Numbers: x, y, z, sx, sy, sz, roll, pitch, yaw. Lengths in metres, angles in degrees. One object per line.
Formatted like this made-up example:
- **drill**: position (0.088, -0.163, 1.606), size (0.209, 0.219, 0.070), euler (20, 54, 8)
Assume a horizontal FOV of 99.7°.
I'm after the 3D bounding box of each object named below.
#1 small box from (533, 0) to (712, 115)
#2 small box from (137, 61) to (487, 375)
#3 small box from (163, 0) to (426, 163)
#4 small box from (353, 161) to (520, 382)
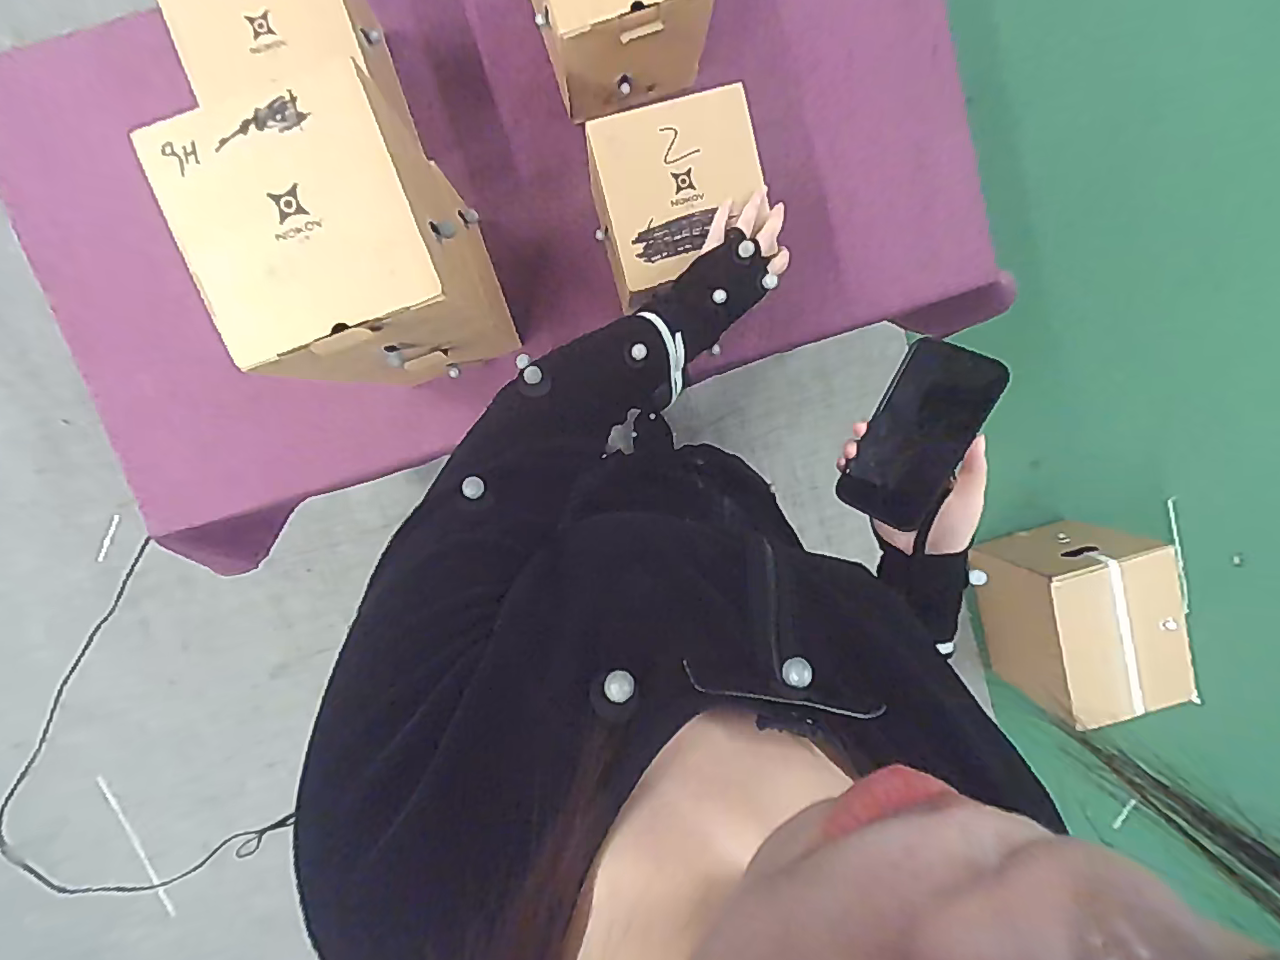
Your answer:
- **small box**: position (-0.033, -0.556, 0.598), size (0.168, 0.176, 0.179), euler (-19, 100, 0)
- **small box**: position (-0.252, -0.198, 0.469), size (0.168, 0.176, 0.179), euler (-20, 98, 0)
- **small box**: position (-0.363, -0.441, 0.599), size (0.168, 0.176, 0.179), euler (-17, 98, -1)
- **small box**: position (-0.256, -0.225, 0.632), size (0.168, 0.176, 0.179), euler (-19, 98, 1)
